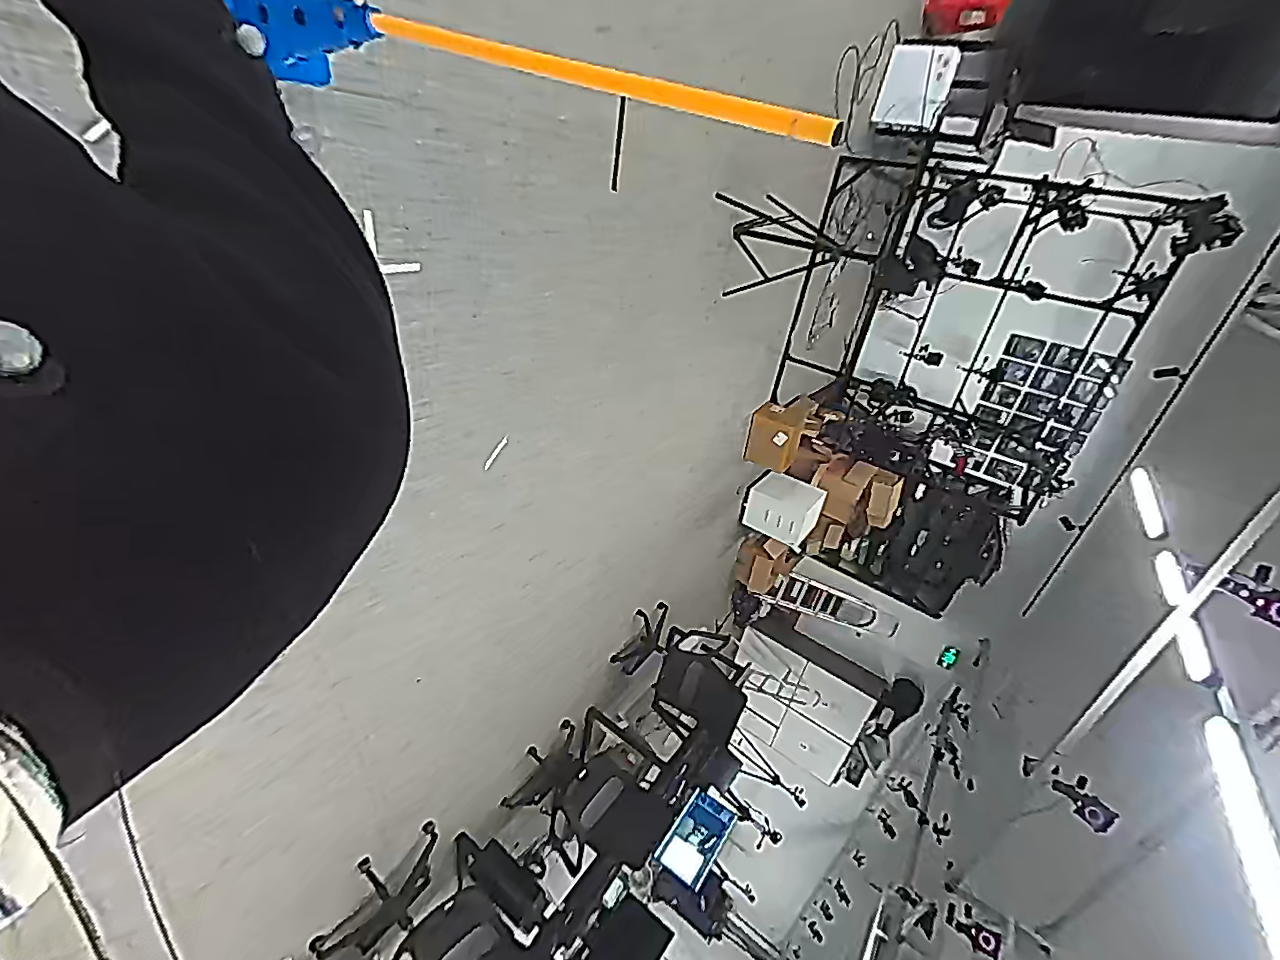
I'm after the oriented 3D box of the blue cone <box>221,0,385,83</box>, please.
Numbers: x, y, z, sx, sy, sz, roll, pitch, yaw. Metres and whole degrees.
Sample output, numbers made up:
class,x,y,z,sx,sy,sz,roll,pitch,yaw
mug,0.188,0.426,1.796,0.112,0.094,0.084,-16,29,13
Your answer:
class,x,y,z,sx,sy,sz,roll,pitch,yaw
blue cone,-0.596,-0.854,1.003,0.193,0.380,0.192,-33,139,-46
